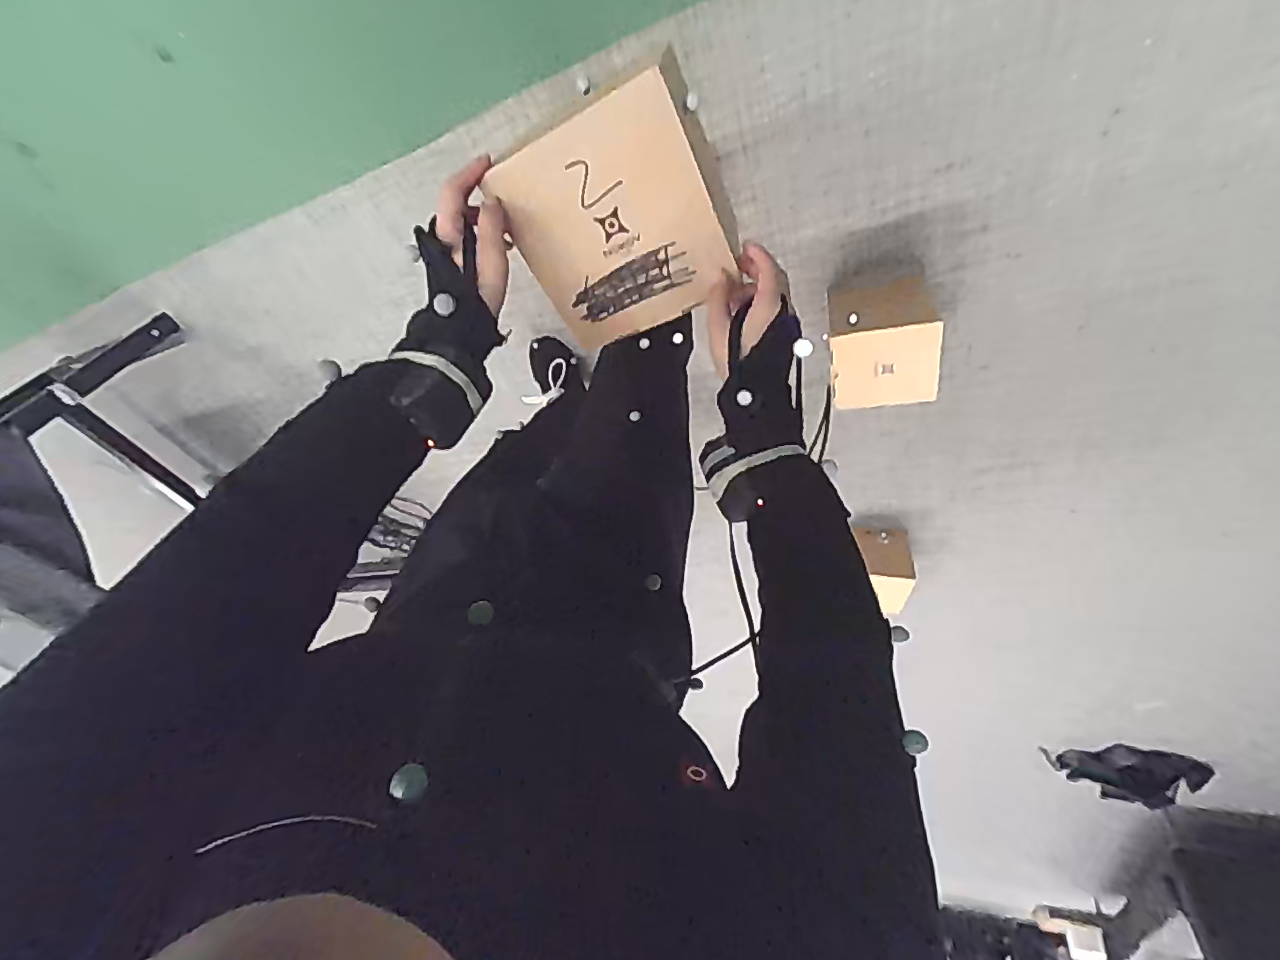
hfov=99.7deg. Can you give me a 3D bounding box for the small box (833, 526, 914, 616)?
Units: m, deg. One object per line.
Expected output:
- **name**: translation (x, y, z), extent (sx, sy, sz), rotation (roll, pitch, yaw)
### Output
- **small box**: translation (0.632, 0.250, 1.487), extent (0.168, 0.176, 0.179), rotation (4, 136, 10)

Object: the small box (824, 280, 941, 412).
- **small box**: translation (0.442, -0.250, 1.004), extent (0.179, 0.176, 0.168), rotation (-4, 135, 20)
